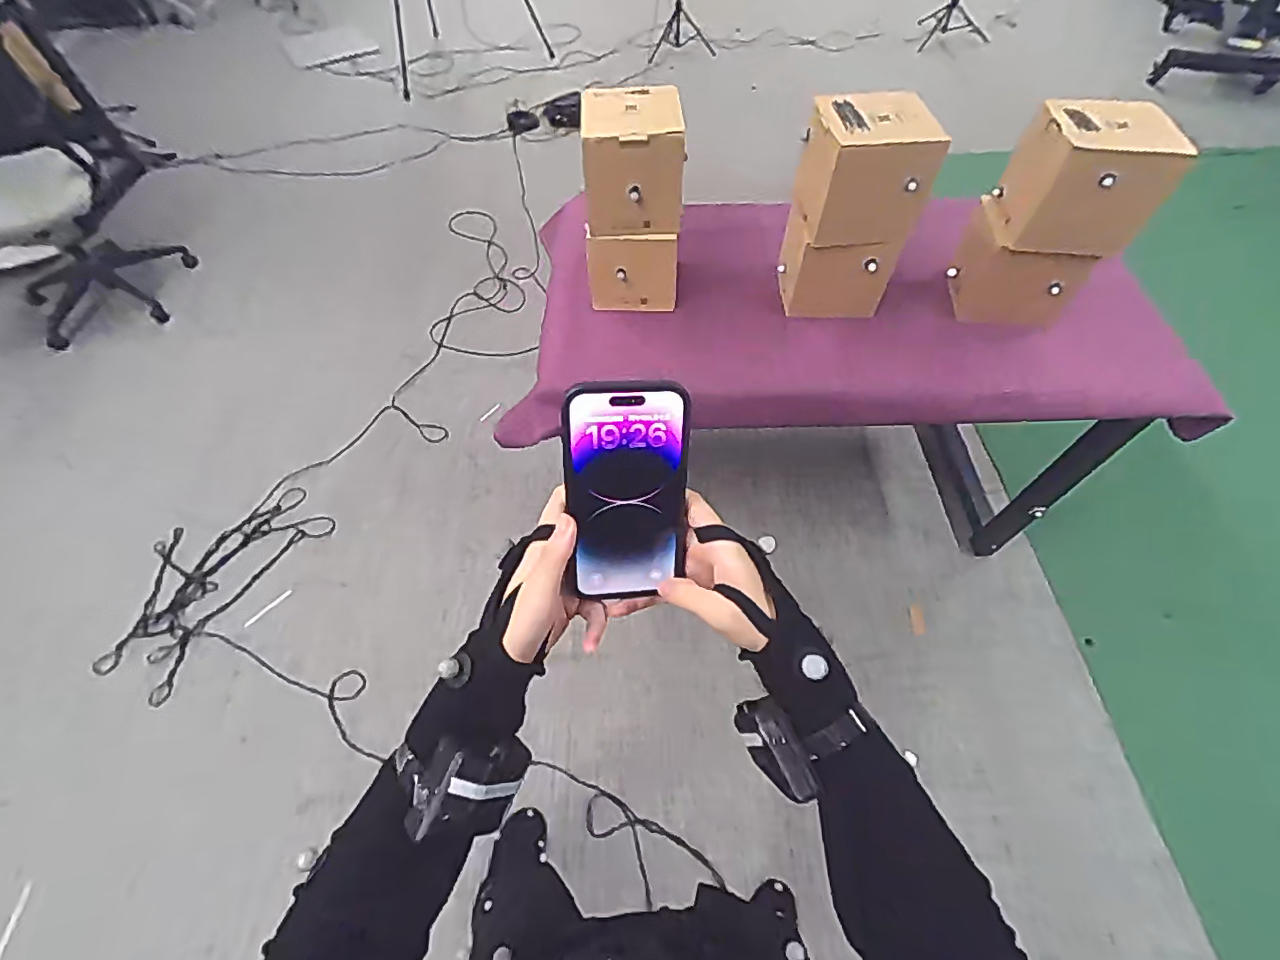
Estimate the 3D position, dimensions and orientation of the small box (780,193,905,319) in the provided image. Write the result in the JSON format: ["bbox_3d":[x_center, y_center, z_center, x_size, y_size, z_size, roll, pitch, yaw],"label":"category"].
[{"bbox_3d":[0.383,-0.433,1.057,0.179,0.176,0.168,1,56,2],"label":"small box"}]

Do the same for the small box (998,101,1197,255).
[{"bbox_3d":[0.727,-0.494,0.892,0.179,0.176,0.168,6,57,5],"label":"small box"}]

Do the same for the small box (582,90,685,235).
[{"bbox_3d":[-0.011,-0.551,0.953,0.168,0.176,0.179,-3,57,-1],"label":"small box"}]

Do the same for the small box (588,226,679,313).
[{"bbox_3d":[-0.006,-0.454,1.086,0.168,0.176,0.179,1,56,3],"label":"small box"}]

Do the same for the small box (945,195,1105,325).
[{"bbox_3d":[0.723,-0.417,1.037,0.179,0.176,0.168,6,56,6],"label":"small box"}]
